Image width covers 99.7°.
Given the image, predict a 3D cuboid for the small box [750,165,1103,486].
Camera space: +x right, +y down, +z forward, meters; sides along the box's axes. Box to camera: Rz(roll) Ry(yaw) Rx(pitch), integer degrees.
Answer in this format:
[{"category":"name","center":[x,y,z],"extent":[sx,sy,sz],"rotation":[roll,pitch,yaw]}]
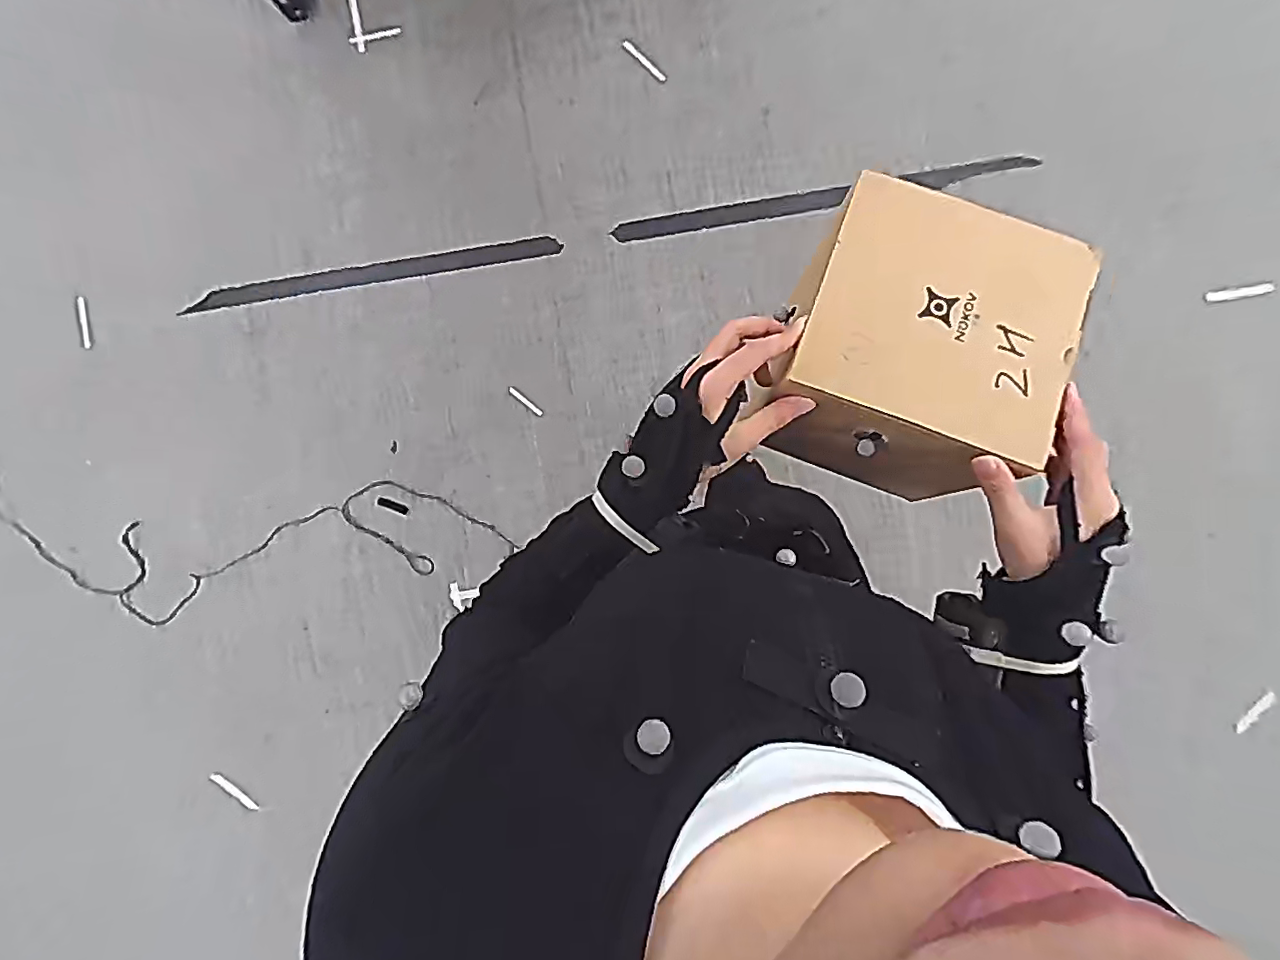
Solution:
[{"category":"small box","center":[0.205,-0.103,0.438],"extent":[0.179,0.176,0.168],"rotation":[20,82,3]}]
